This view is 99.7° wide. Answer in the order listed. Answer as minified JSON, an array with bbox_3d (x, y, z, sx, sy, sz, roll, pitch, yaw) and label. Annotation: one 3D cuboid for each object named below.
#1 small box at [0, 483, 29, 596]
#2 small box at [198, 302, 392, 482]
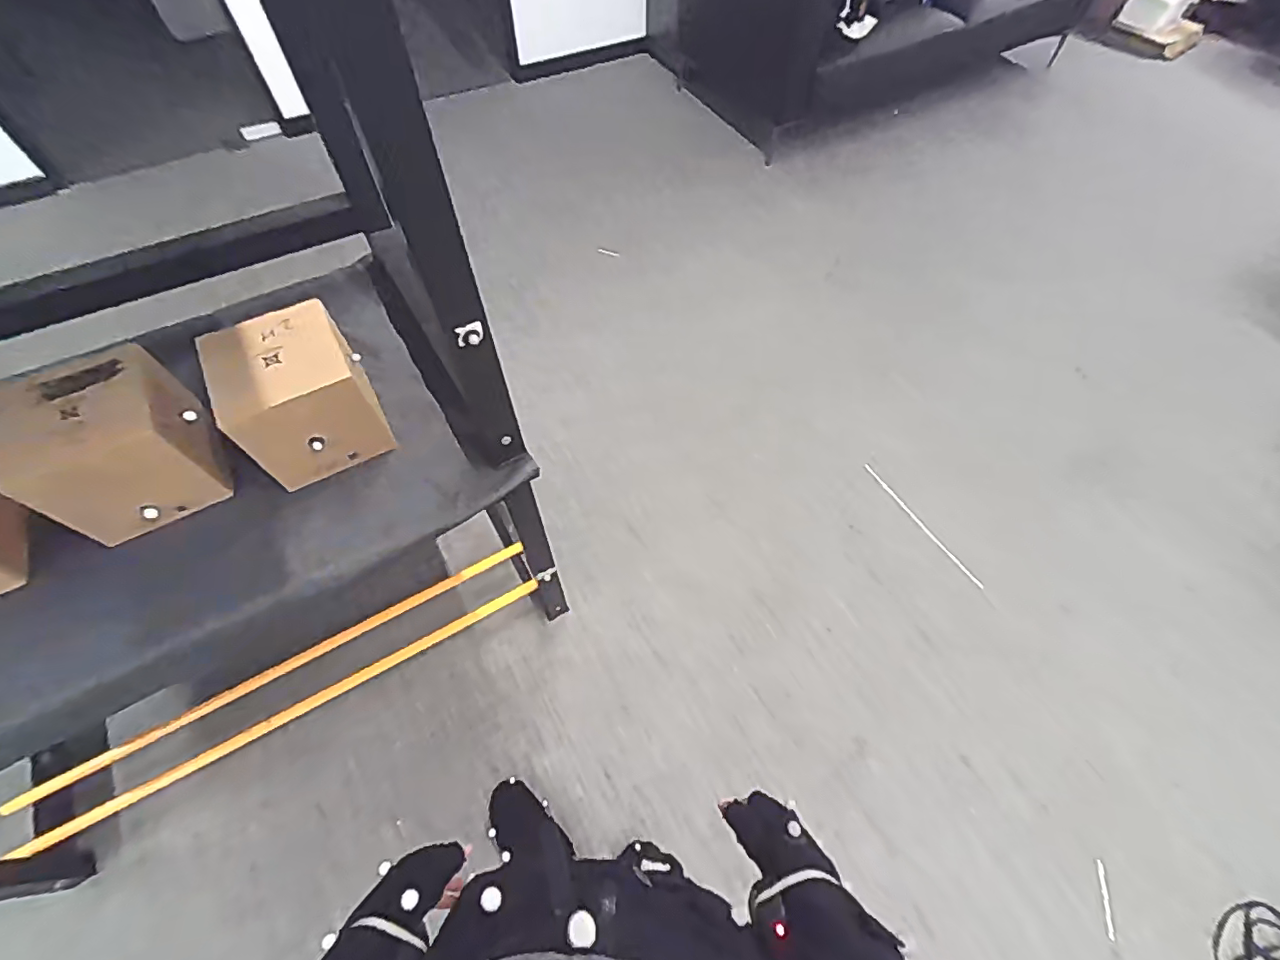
[{"bbox_3d":[-0.927,0.072,0.670,0.168,0.176,0.179,-26,63,-16],"label":"small box"},{"bbox_3d":[-0.492,-0.119,0.792,0.168,0.176,0.179,-27,63,-16],"label":"small box"}]
